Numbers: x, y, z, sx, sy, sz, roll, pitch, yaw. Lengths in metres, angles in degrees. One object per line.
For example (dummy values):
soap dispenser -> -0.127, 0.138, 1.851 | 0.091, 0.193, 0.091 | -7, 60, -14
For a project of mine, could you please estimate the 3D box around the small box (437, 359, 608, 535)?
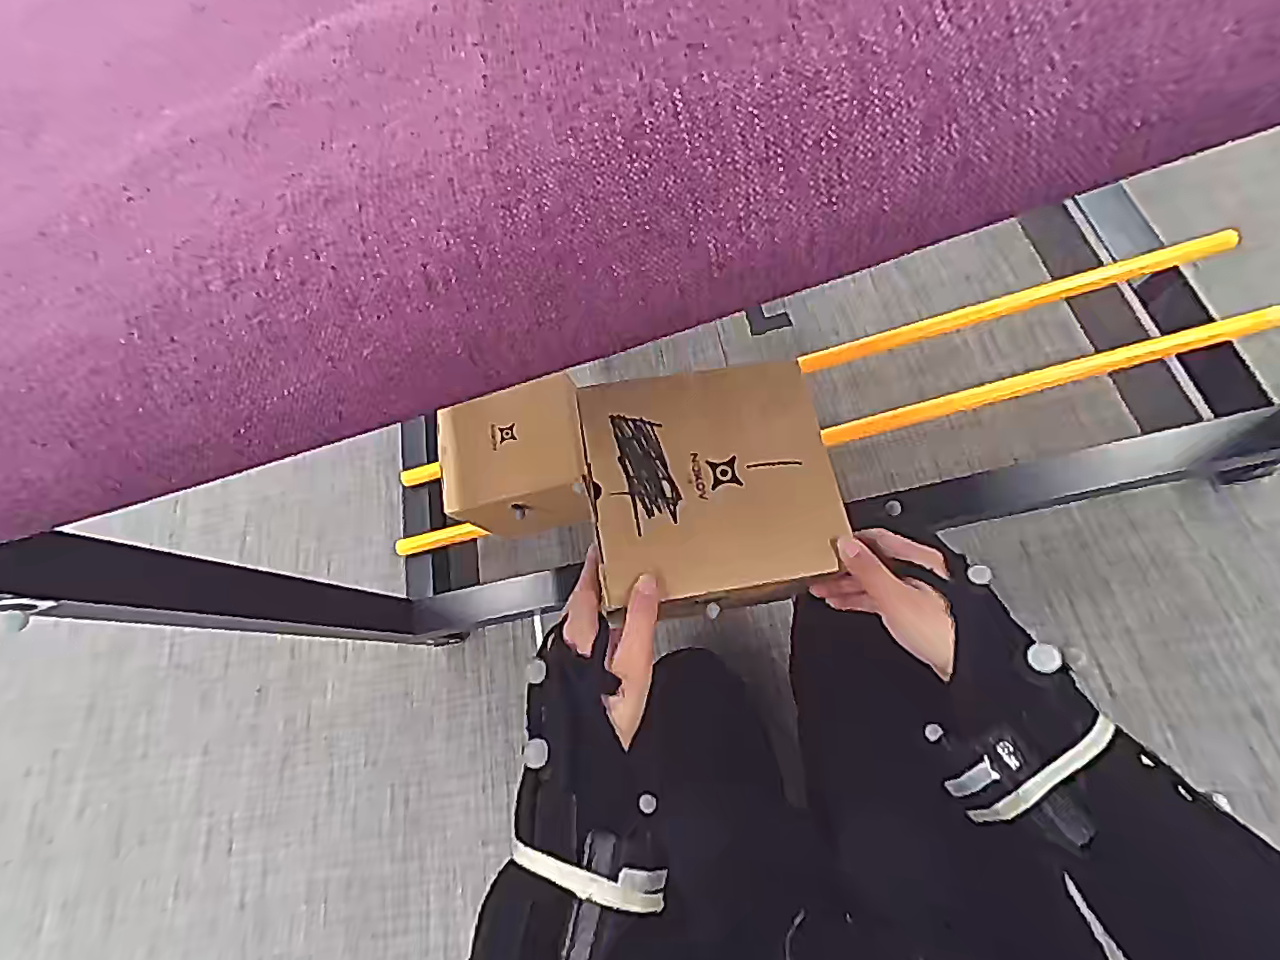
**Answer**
small box -> -0.149, -0.034, 0.735 | 0.179, 0.176, 0.168 | -14, 70, 9
